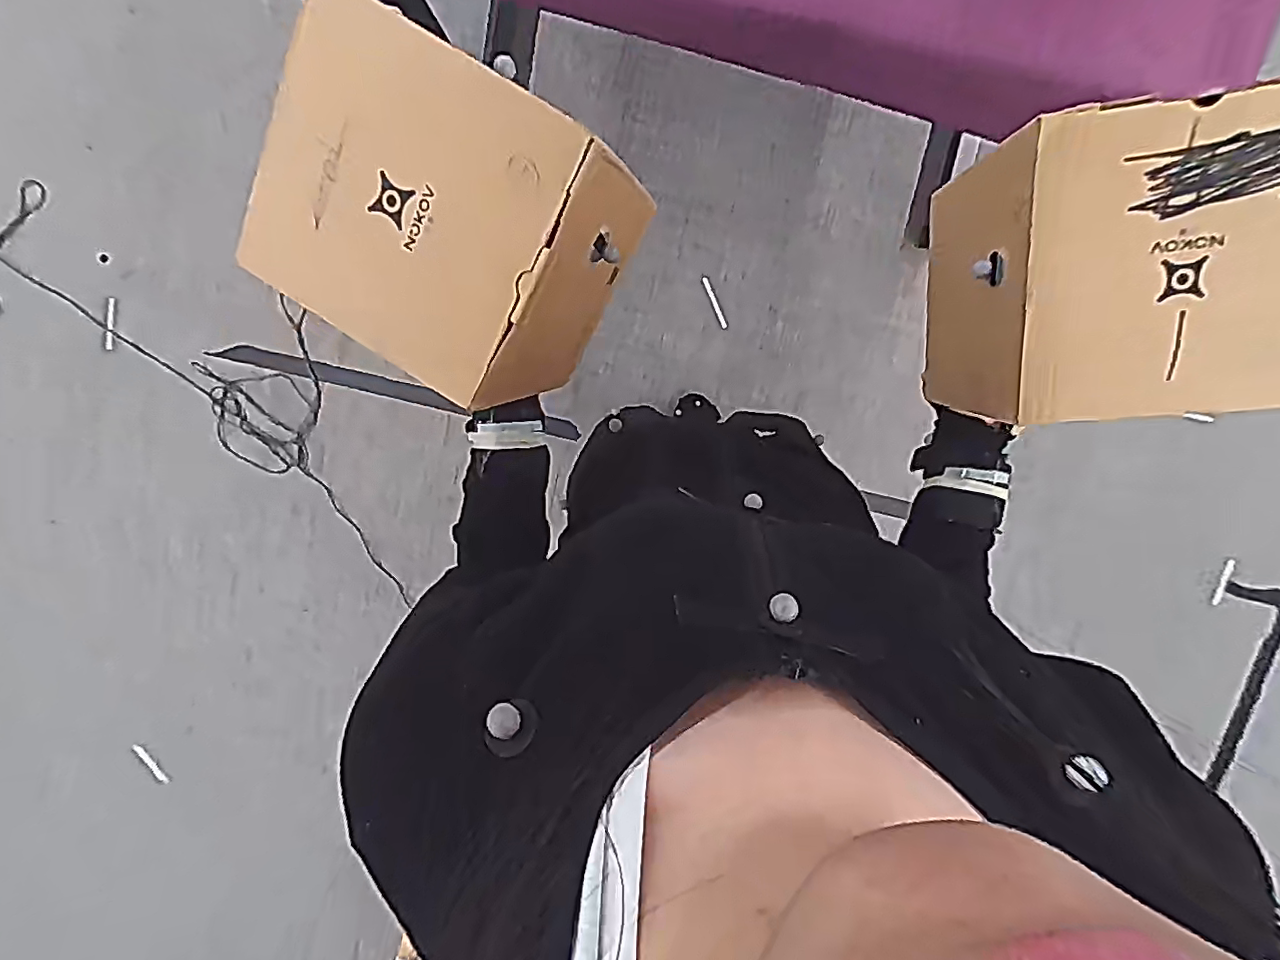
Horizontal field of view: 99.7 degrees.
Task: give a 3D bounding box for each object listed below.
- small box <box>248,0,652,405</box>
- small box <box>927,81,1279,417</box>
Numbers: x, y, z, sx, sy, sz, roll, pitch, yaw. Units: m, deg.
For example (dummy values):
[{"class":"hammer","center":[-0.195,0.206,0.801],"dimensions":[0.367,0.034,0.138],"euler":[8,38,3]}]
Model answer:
[{"class":"small box","center":[-0.111,-0.175,0.377],"dimensions":[0.179,0.176,0.168],"euler":[33,108,3]},{"class":"small box","center":[0.324,-0.145,0.389],"dimensions":[0.168,0.176,0.179],"euler":[-3,104,9]}]
